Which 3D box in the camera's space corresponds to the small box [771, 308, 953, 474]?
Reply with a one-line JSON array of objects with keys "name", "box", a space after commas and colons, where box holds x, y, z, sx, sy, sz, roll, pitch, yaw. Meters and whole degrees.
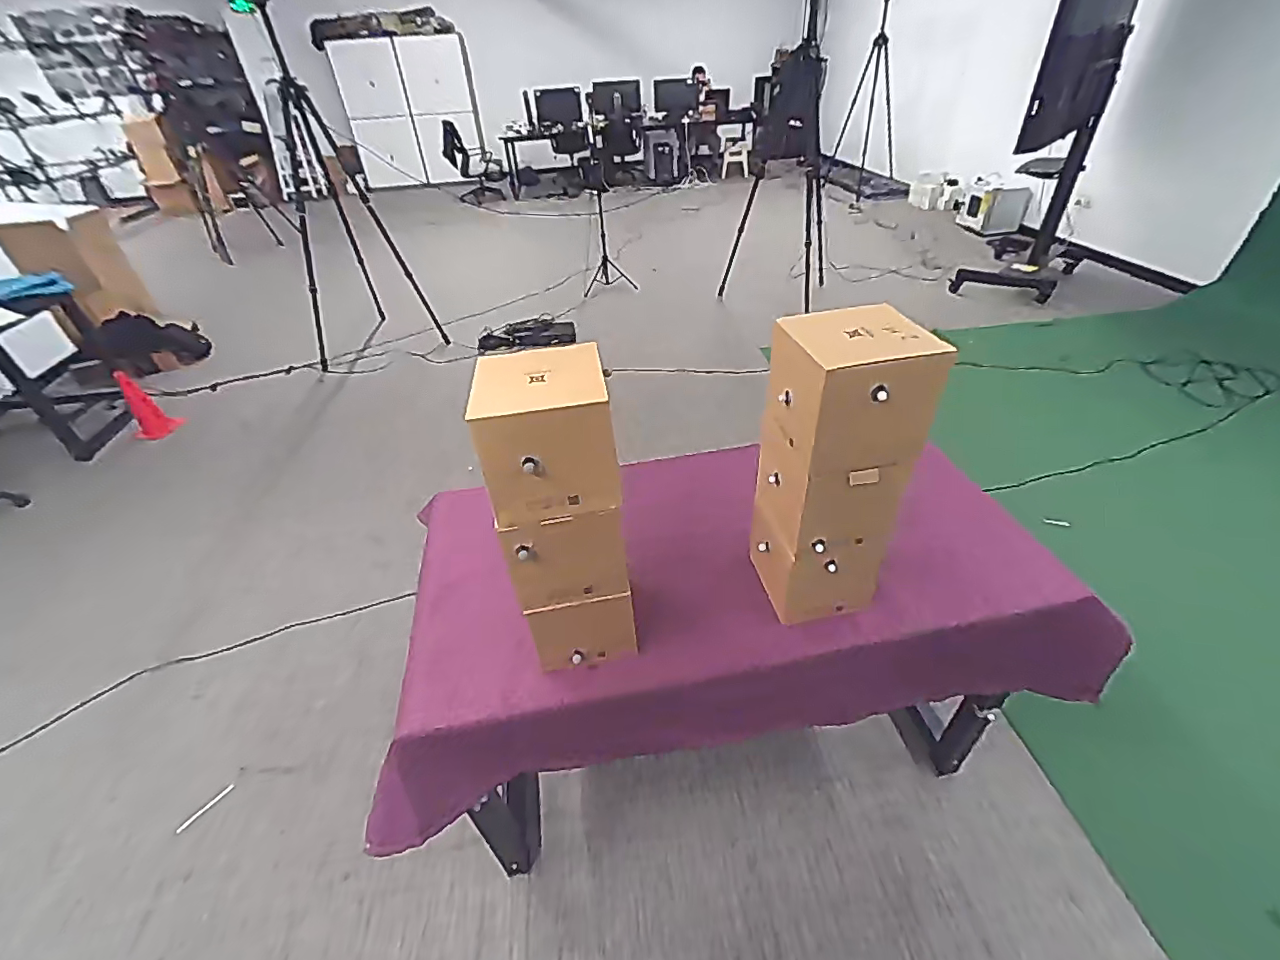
[{"name": "small box", "box": [0.295, -0.124, 0.766, 0.179, 0.176, 0.168, -9, 40, -6]}]

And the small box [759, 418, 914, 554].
[{"name": "small box", "box": [0.302, 0.003, 0.872, 0.168, 0.176, 0.179, -9, 38, -6]}]

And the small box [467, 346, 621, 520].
[{"name": "small box", "box": [-0.122, -0.060, 0.729, 0.168, 0.176, 0.179, -9, 37, -4]}]

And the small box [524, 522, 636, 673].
[{"name": "small box", "box": [-0.102, 0.200, 0.928, 0.168, 0.176, 0.179, -9, 39, -5]}]

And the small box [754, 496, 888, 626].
[{"name": "small box", "box": [0.311, 0.132, 0.973, 0.168, 0.176, 0.179, -10, 38, -5]}]
